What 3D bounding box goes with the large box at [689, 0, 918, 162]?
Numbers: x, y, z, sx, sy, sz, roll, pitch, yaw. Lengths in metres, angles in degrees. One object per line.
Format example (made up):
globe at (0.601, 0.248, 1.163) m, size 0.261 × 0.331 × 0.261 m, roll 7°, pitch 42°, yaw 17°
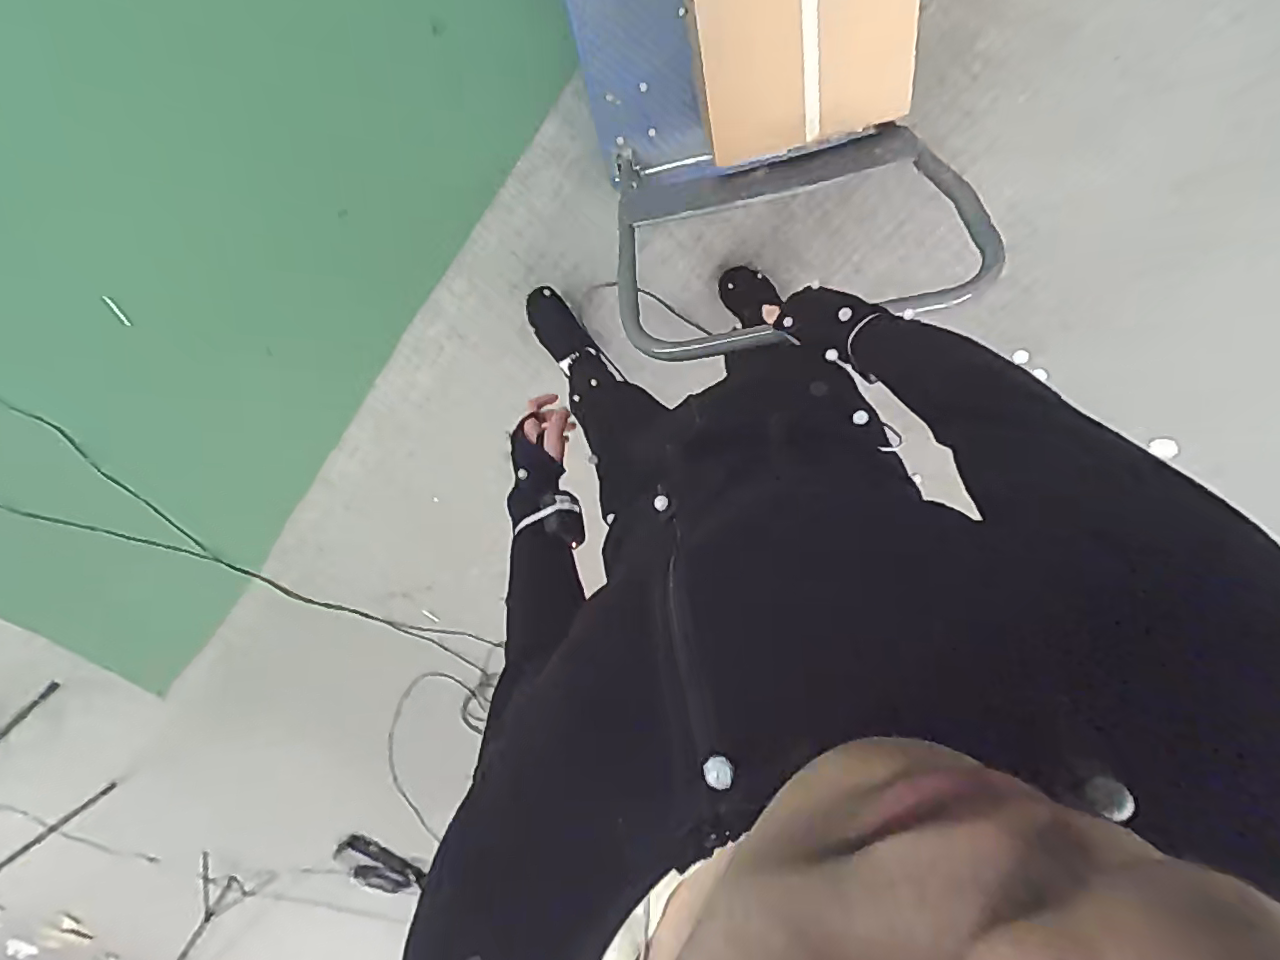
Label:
large box at (0.235, -0.806, 0.866) m, size 0.320 × 0.320 × 0.408 m, roll -11°, pitch 132°, yaw 10°
